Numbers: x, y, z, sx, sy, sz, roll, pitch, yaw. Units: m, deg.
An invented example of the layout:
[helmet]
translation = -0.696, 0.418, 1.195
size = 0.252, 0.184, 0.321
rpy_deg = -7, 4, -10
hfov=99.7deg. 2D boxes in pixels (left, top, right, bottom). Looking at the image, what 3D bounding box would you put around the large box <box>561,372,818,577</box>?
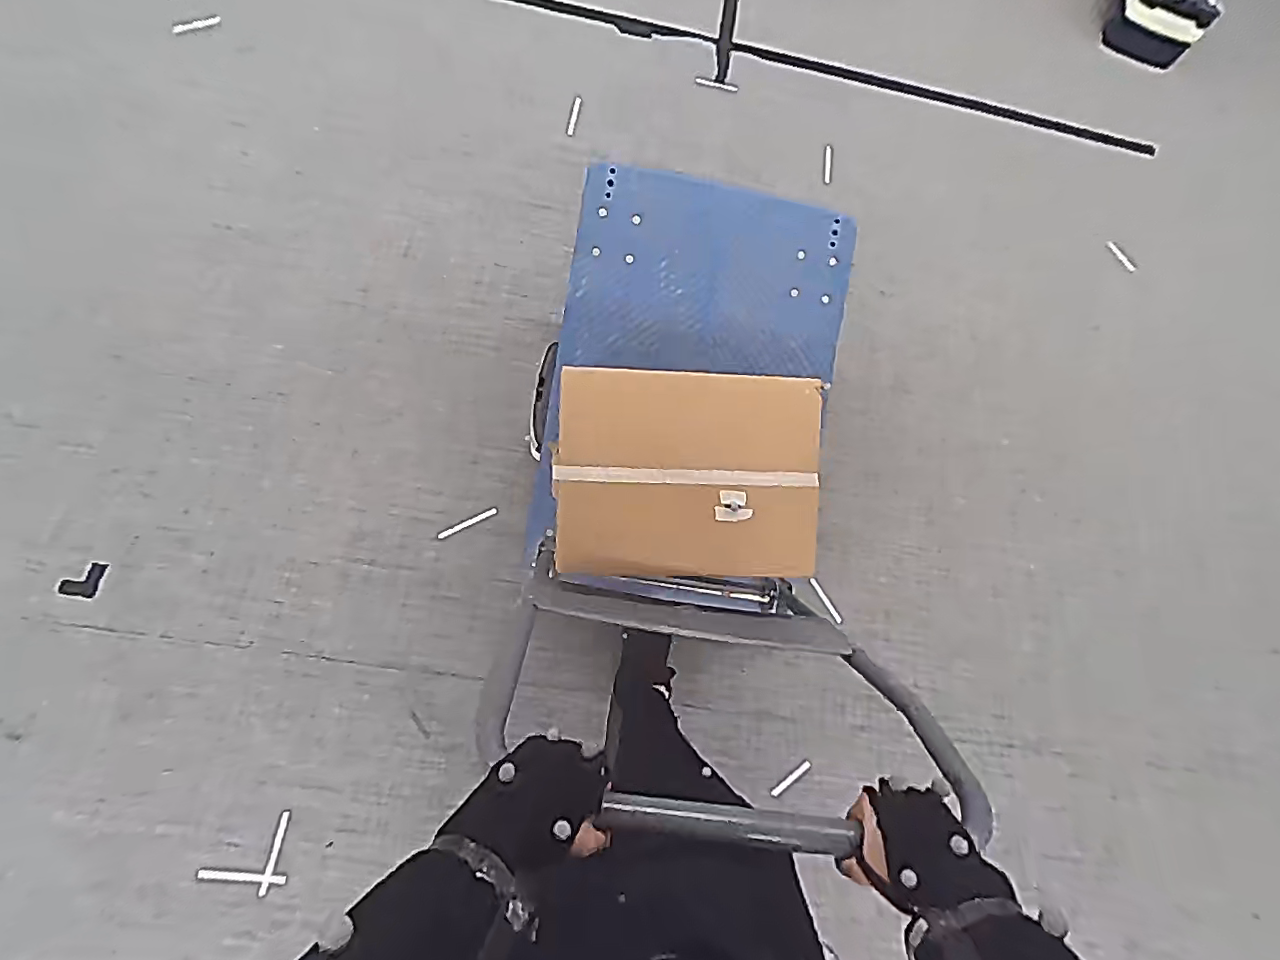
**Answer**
[large box]
translation = 0.062, -0.011, 0.979
size = 0.408, 0.320, 0.320
rpy_deg = 2, 94, -6
